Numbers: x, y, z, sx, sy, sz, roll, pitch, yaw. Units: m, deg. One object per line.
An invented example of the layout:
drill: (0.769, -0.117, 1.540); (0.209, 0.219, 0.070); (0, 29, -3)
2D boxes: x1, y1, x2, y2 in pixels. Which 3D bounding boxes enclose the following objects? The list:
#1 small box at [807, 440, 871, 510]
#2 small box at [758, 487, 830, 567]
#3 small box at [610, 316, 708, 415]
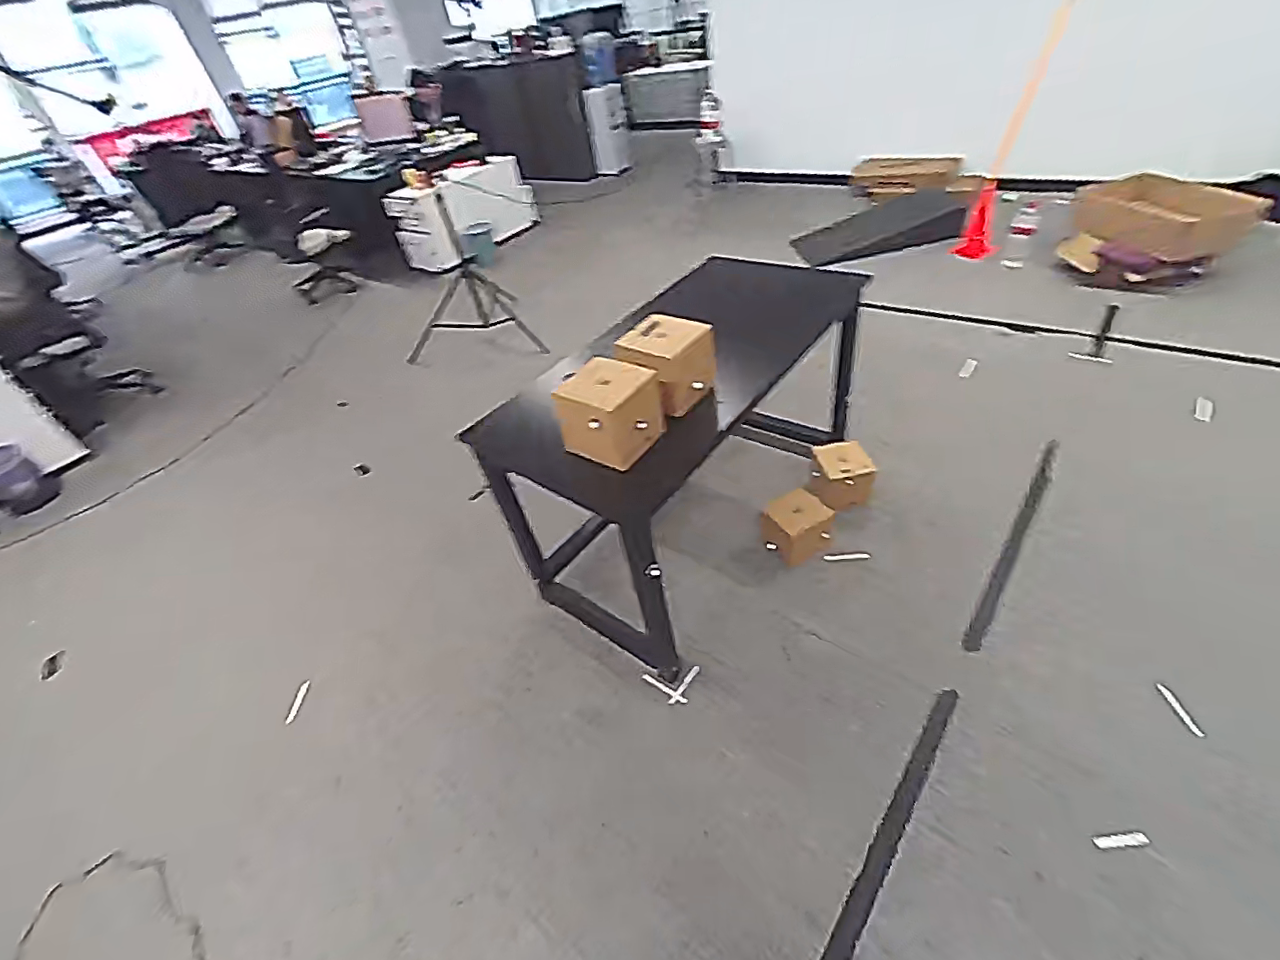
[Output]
small box: (0.724, -0.018, 1.986); (0.168, 0.176, 0.179); (-13, 42, 0)
small box: (0.521, 0.160, 1.848); (0.179, 0.176, 0.168); (-29, 44, -16)
small box: (0.054, -0.285, 1.352); (0.179, 0.176, 0.168); (23, 53, 32)
